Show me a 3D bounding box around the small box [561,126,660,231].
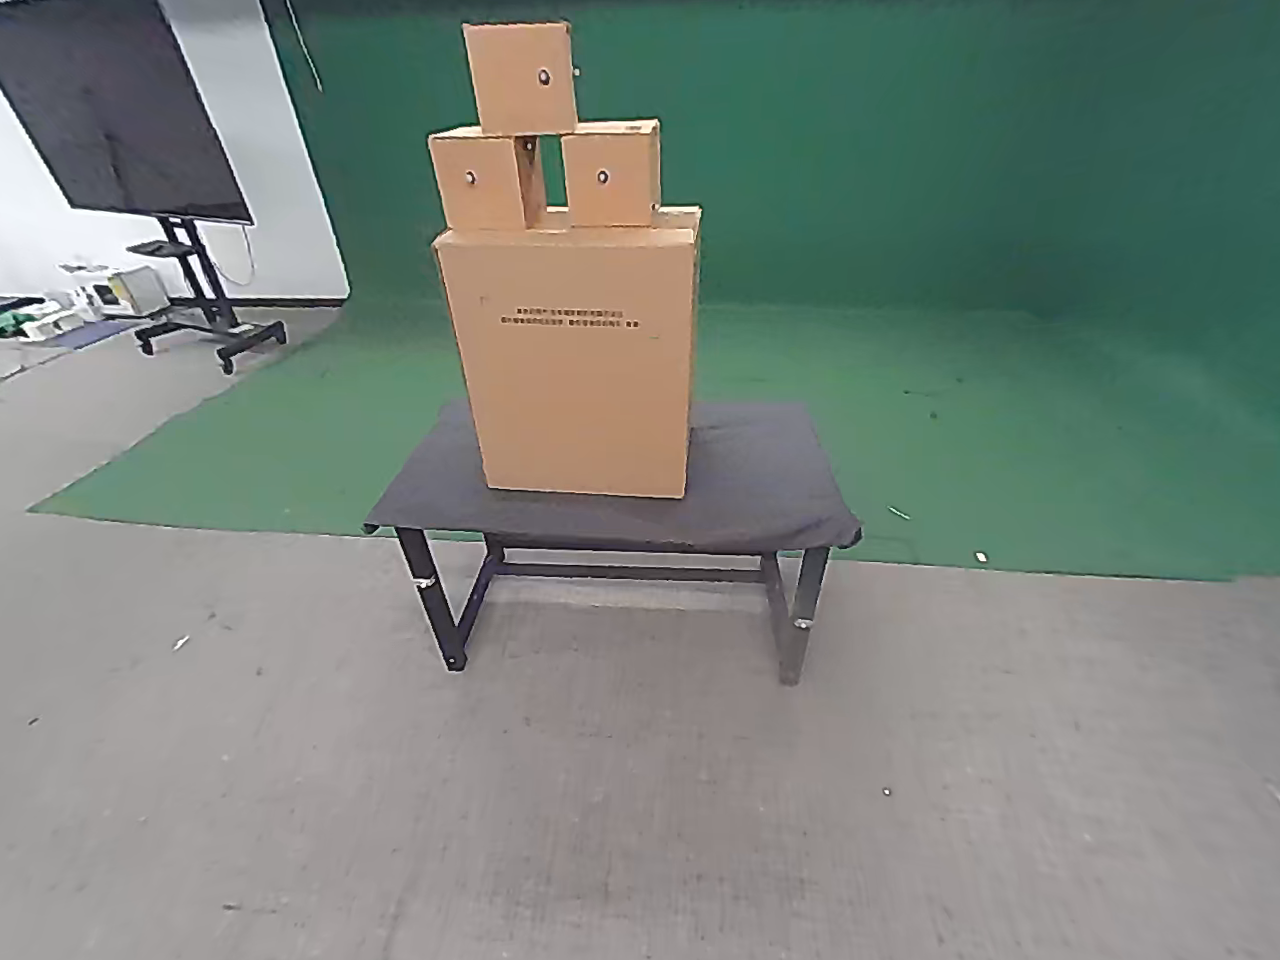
[{"bbox_3d":[-0.053,-0.636,1.143,0.179,0.176,0.168,3,40,8],"label":"small box"}]

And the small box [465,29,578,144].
[{"bbox_3d":[-0.217,-0.759,1.048,0.179,0.176,0.168,-4,38,0],"label":"small box"}]

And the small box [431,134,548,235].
[{"bbox_3d":[-0.310,-0.632,1.155,0.179,0.176,0.168,4,40,7],"label":"small box"}]
